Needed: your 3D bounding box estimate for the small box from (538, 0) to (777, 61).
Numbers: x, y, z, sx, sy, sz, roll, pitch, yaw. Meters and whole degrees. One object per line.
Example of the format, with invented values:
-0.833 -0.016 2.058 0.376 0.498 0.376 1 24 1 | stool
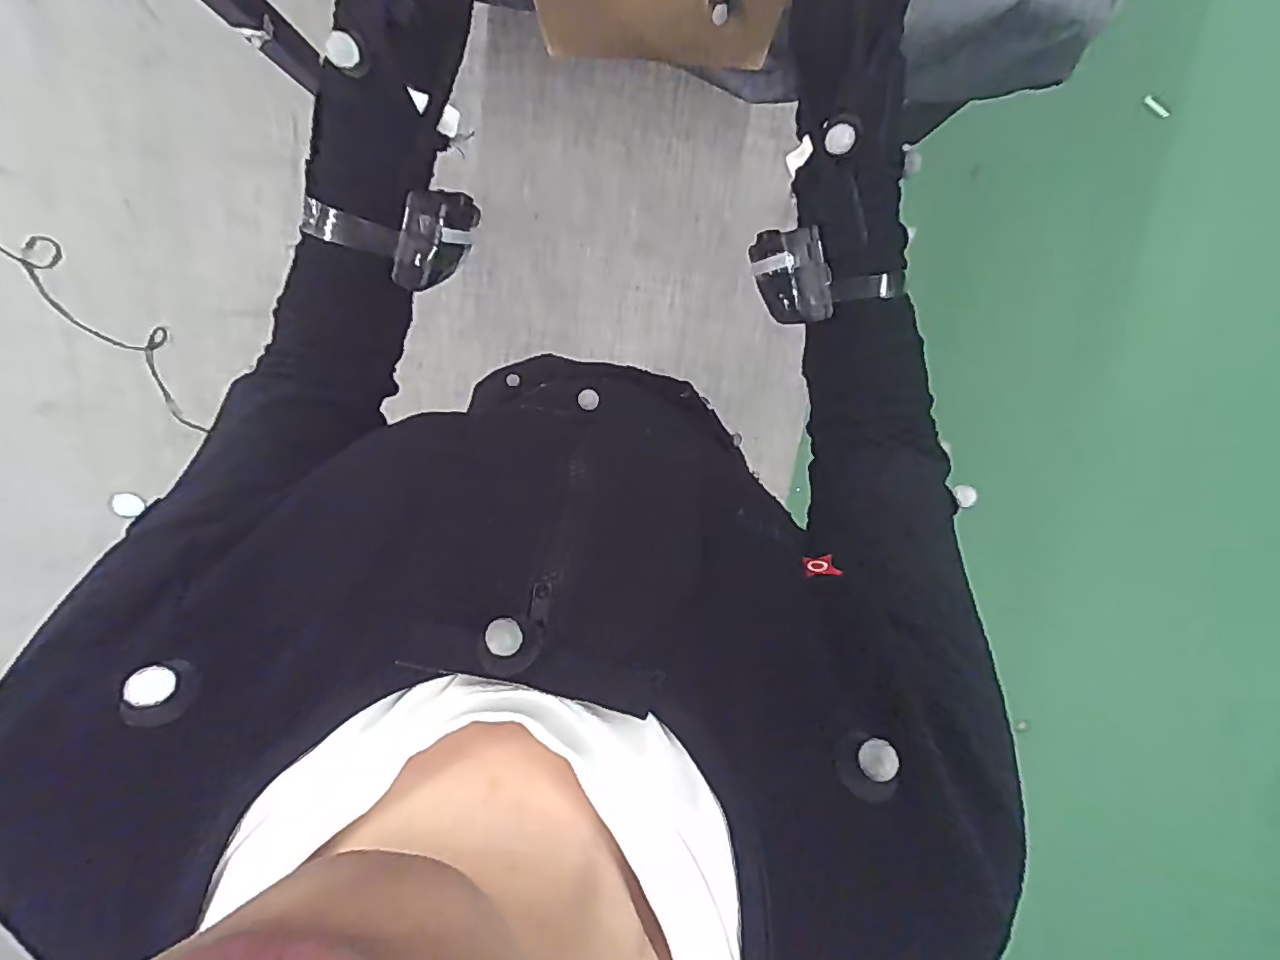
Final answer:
0.016 -0.408 0.350 0.179 0.176 0.168 3 102 2 | small box
